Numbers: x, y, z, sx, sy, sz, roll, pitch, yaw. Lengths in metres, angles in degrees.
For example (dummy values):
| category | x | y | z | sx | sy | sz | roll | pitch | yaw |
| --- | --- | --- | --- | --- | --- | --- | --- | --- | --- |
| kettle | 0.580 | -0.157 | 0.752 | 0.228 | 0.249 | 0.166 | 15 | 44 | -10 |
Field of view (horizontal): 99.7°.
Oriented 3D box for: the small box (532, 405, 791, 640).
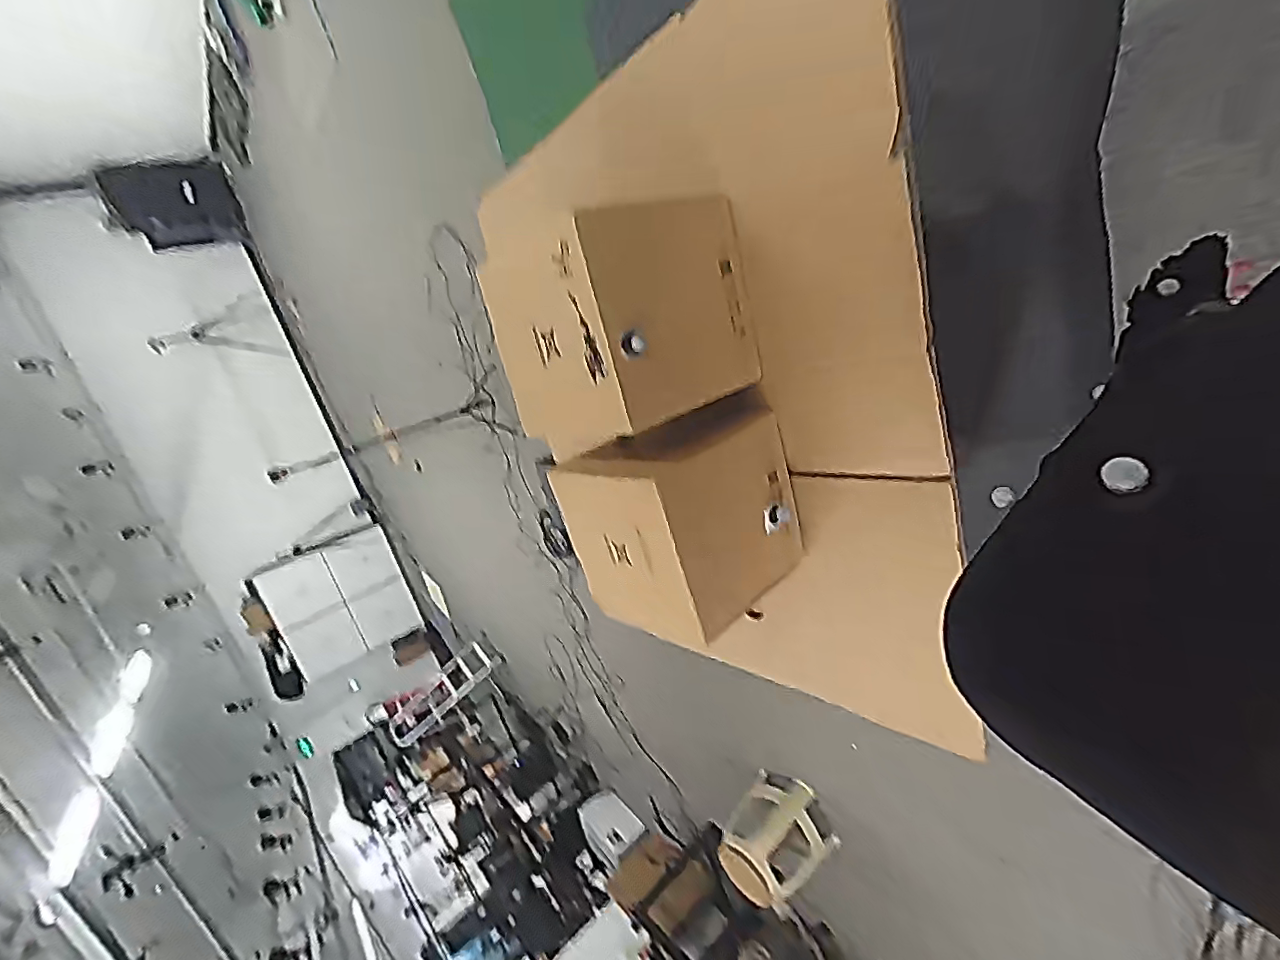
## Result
| category | x | y | z | sx | sy | sz | roll | pitch | yaw |
| --- | --- | --- | --- | --- | --- | --- | --- | --- | --- |
| small box | 0.024 | 0.030 | 0.554 | 0.179 | 0.176 | 0.168 | 2 | 115 | 50 |

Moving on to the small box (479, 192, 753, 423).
| category | x | y | z | sx | sy | sz | roll | pitch | yaw |
| --- | --- | --- | --- | --- | --- | --- | --- | --- | --- |
| small box | -0.022 | -0.156 | 0.512 | 0.179 | 0.176 | 0.168 | 5 | 114 | 52 |
